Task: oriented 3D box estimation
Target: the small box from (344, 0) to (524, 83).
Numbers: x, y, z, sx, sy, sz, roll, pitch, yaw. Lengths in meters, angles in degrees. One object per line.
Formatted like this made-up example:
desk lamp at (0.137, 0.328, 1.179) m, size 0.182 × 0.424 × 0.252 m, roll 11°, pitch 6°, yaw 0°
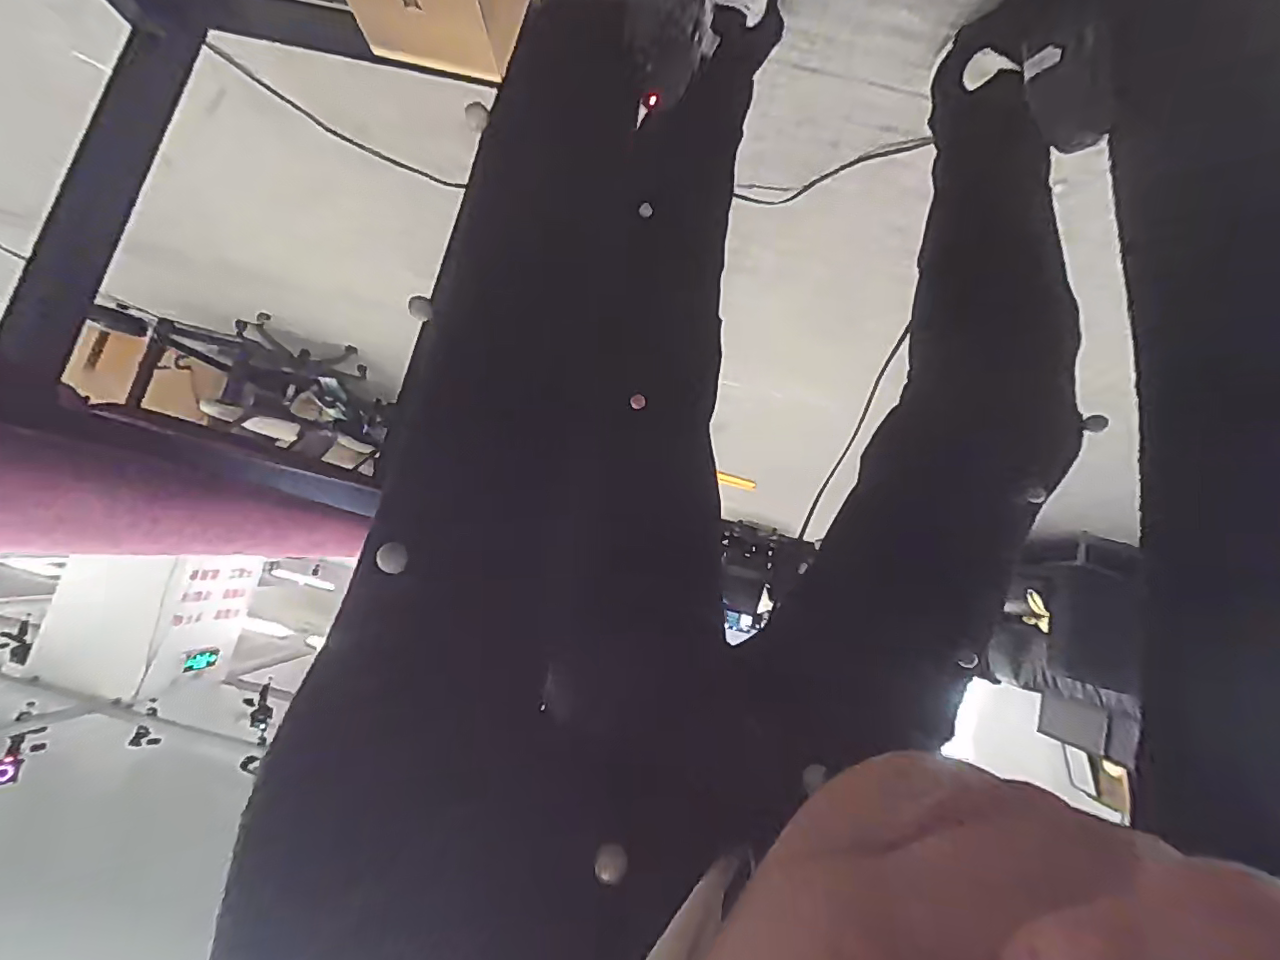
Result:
small box at (-0.222, -0.582, 0.571) m, size 0.168 × 0.176 × 0.179 m, roll 15°, pitch 171°, yaw 3°
